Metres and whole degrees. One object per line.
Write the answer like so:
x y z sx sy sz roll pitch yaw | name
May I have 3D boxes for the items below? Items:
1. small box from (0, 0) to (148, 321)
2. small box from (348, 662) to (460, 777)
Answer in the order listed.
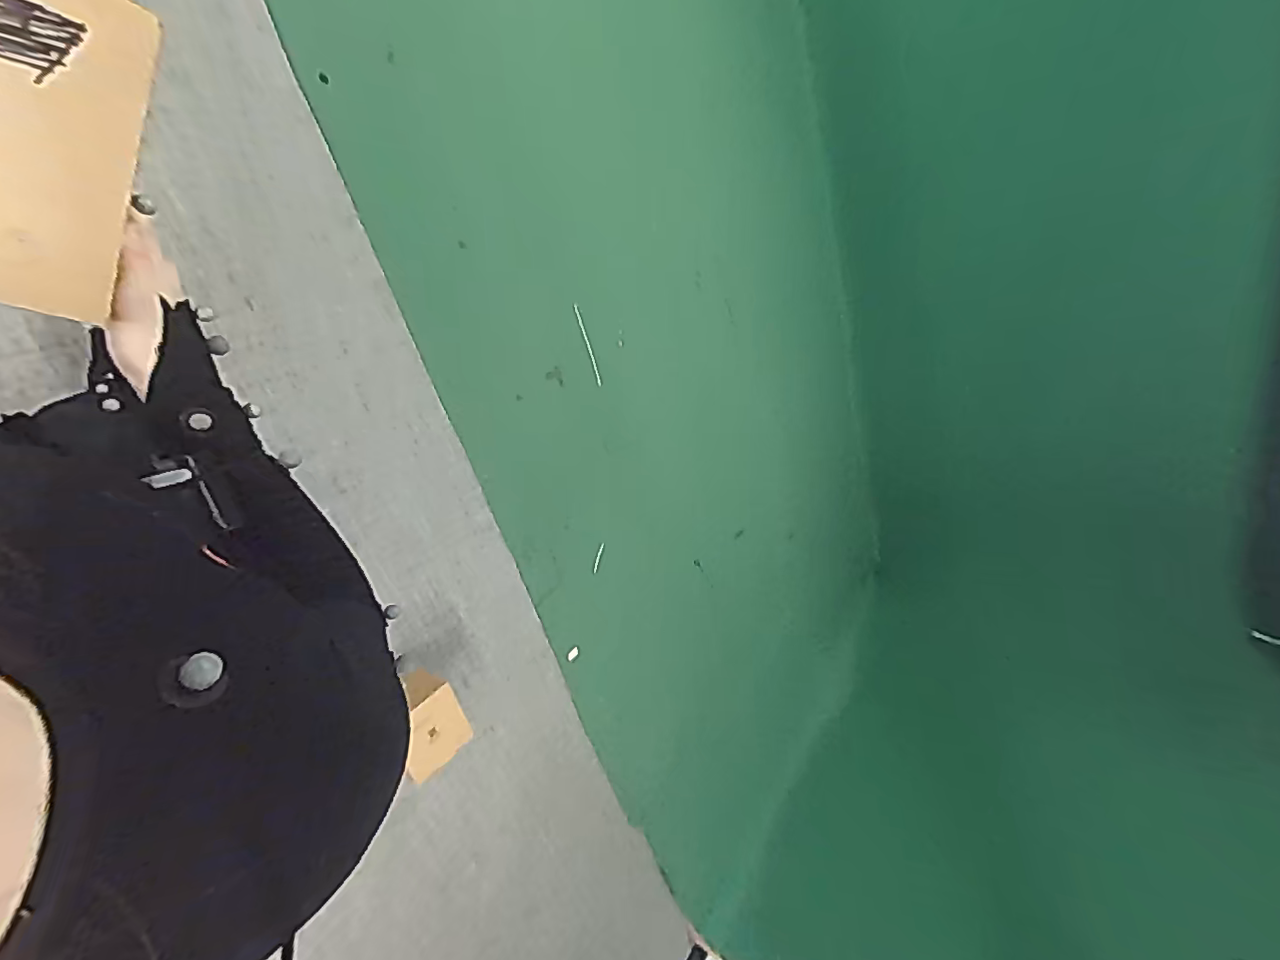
-0.413 -0.212 0.308 0.168 0.176 0.179 9 103 -48 | small box
-0.587 0.586 1.346 0.168 0.176 0.179 -37 118 -43 | small box
